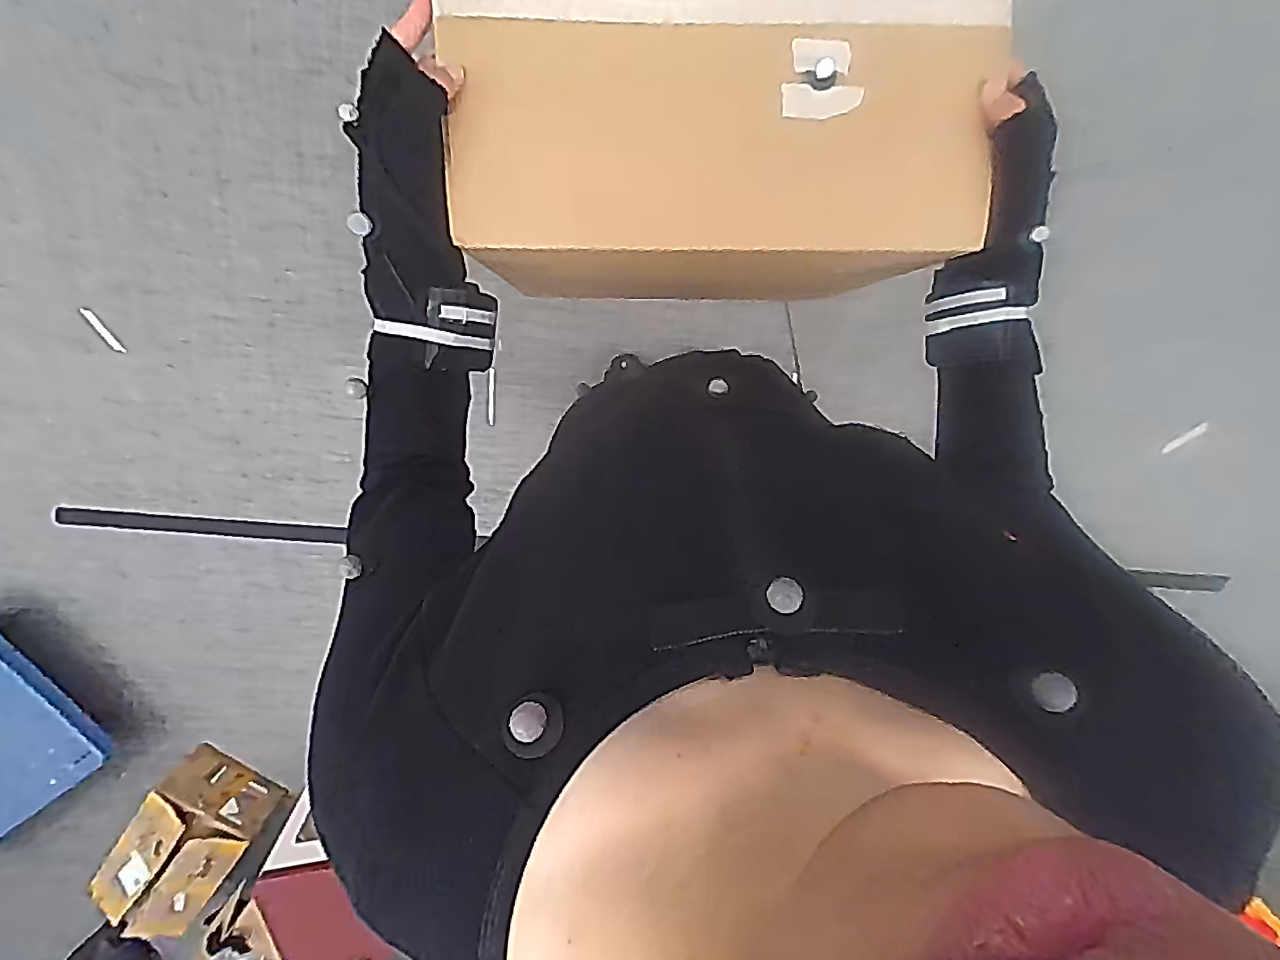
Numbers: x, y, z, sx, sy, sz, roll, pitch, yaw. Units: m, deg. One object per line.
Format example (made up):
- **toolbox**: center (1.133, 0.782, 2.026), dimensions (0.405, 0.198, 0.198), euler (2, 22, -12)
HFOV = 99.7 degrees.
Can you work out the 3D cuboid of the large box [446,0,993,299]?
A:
- **large box**: center (0.052, -0.364, 0.535), dimensions (0.408, 0.320, 0.320), euler (-1, 102, -3)
